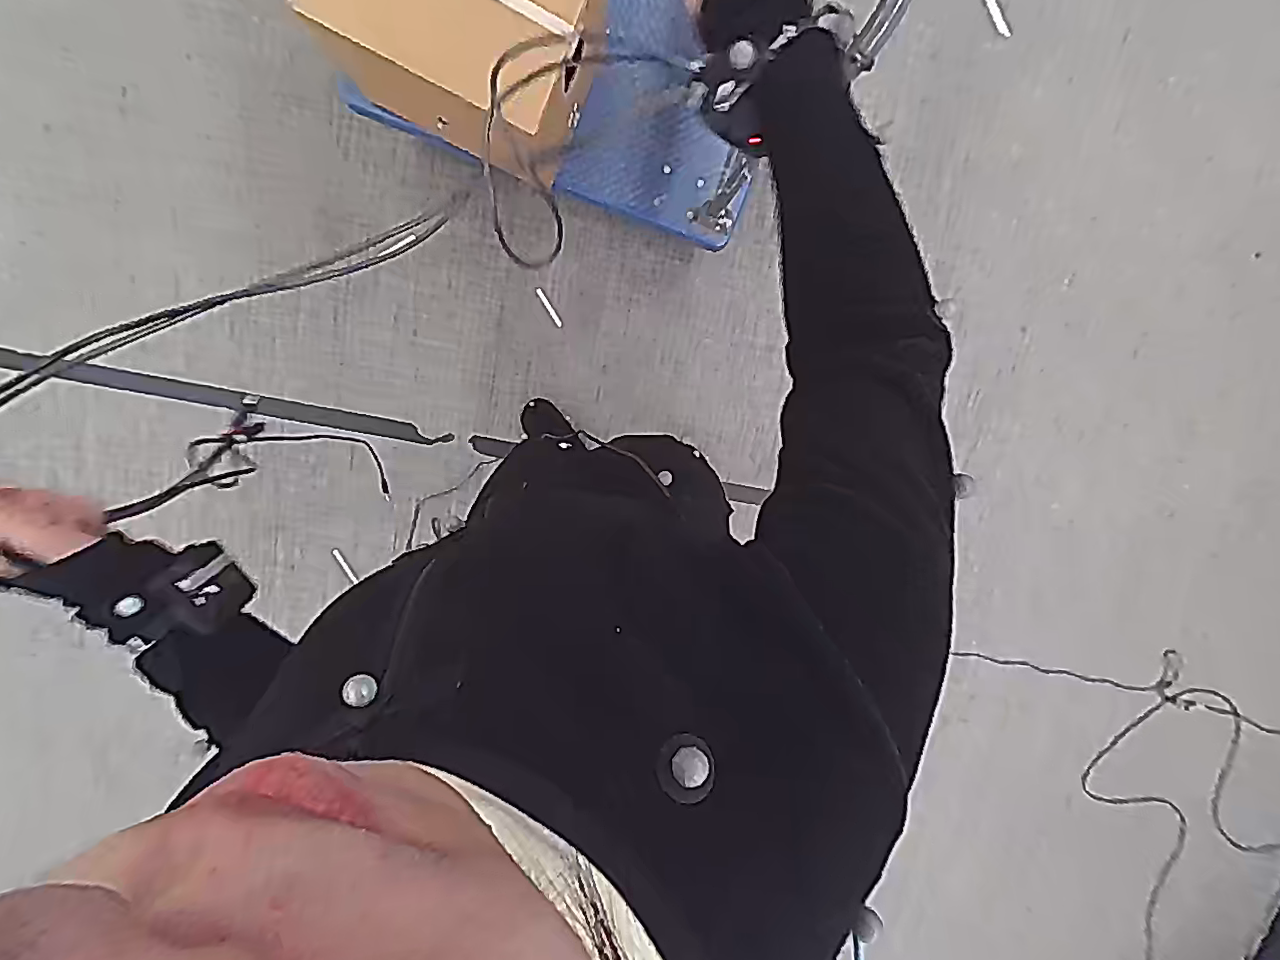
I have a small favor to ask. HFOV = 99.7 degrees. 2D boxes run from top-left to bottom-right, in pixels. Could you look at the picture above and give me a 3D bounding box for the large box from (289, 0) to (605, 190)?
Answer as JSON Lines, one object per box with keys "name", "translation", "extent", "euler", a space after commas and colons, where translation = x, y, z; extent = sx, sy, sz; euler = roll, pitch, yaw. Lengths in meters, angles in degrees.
{"name": "large box", "translation": [-0.299, -0.795, 0.964], "extent": [0.408, 0.320, 0.320], "euler": [23, 99, -9]}
